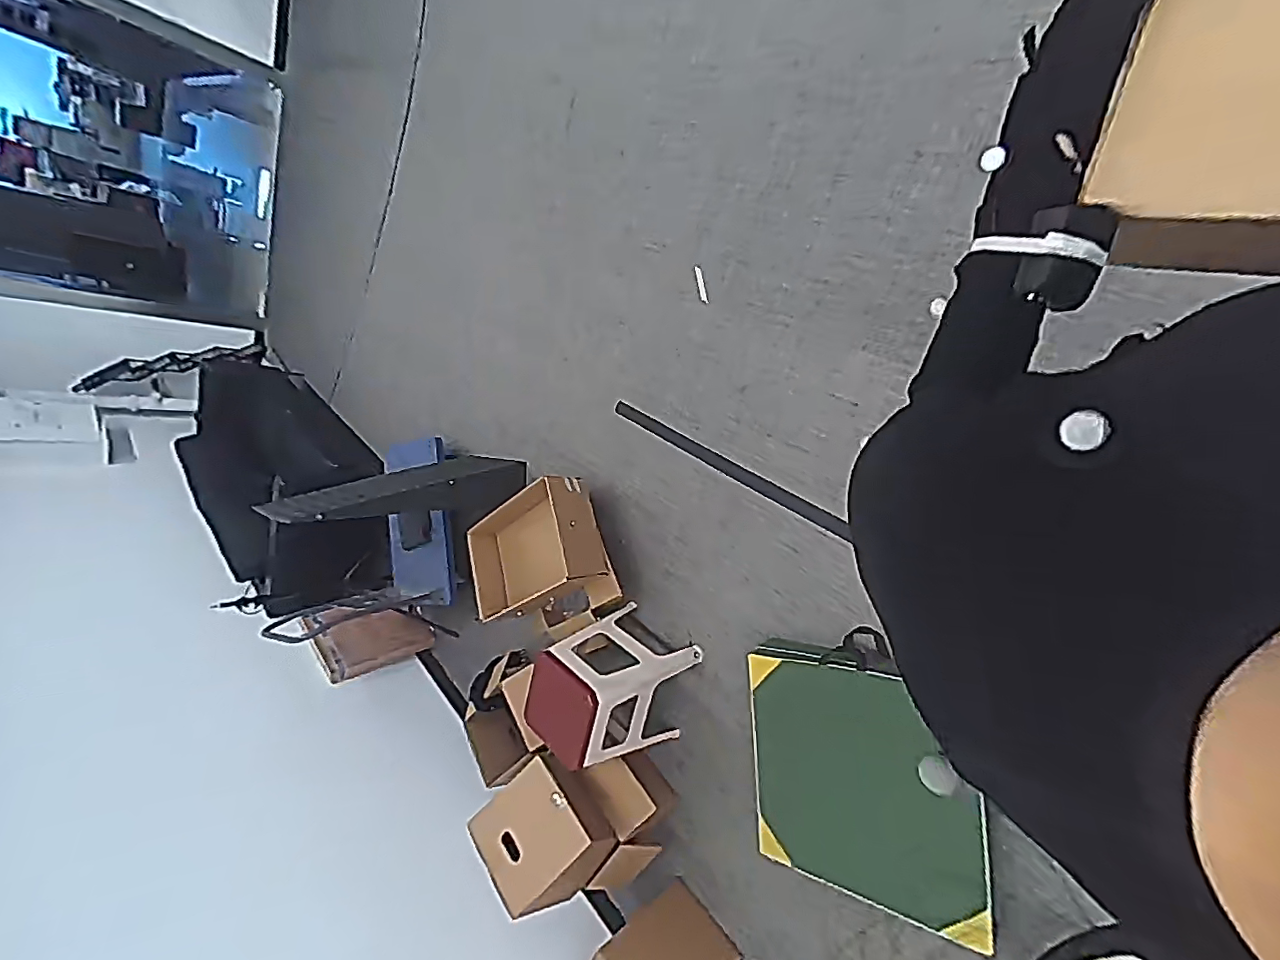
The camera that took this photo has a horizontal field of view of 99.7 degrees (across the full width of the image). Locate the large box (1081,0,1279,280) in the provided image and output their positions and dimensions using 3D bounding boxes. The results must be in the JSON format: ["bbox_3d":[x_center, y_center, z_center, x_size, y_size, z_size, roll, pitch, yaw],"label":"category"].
[{"bbox_3d":[0.595,-0.307,0.358,0.408,0.320,0.320,22,114,36],"label":"large box"}]
